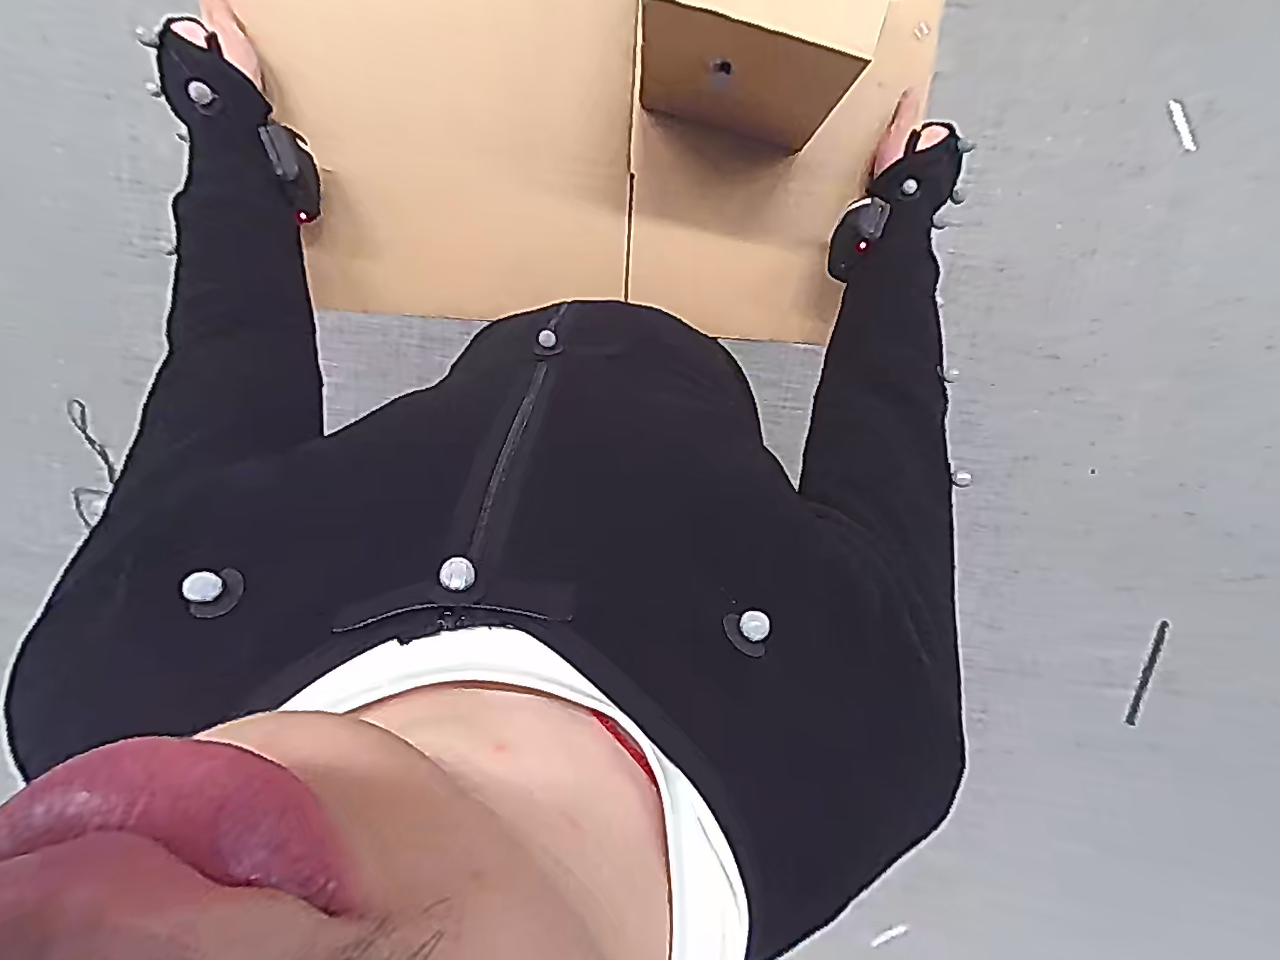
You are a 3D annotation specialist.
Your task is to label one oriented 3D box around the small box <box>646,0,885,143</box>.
[{"bbox_3d":[0.106,-0.424,0.463,0.179,0.176,0.168,14,102,-3],"label":"small box"}]
